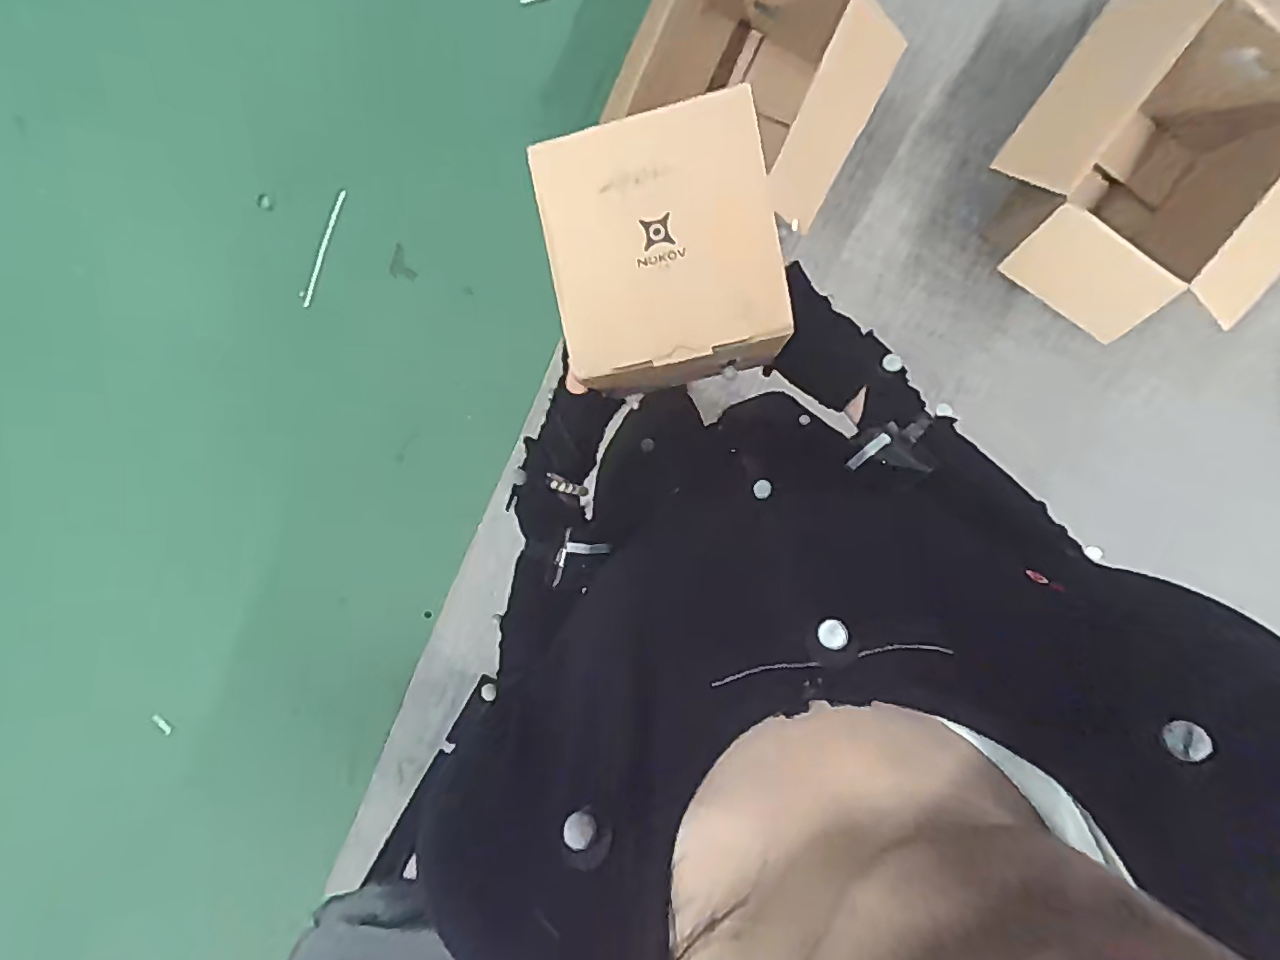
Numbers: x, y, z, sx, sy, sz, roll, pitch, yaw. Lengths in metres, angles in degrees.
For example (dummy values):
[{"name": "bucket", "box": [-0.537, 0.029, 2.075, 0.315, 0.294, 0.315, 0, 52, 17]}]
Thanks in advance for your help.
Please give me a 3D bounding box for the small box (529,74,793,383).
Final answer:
[{"name": "small box", "box": [0.024, -0.184, 0.460, 0.168, 0.176, 0.179, -11, 93, 7]}]
